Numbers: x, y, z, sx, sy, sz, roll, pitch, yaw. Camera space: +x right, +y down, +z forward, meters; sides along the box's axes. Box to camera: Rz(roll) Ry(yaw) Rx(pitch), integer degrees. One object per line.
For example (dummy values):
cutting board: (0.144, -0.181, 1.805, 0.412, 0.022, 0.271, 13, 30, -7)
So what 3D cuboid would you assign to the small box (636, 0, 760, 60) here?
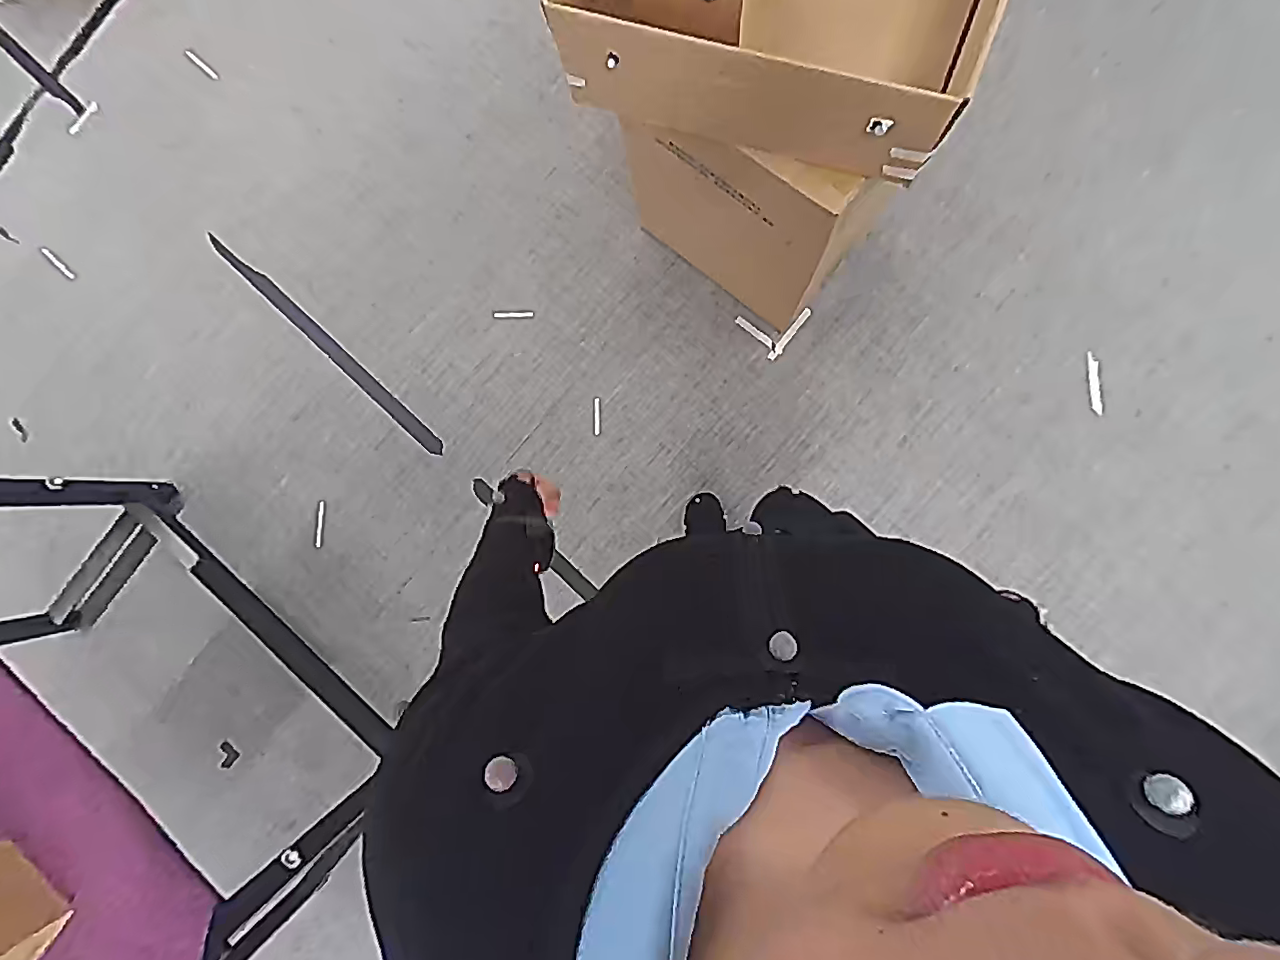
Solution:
small box: (0.100, -0.777, 0.802, 0.179, 0.176, 0.168, 21, 91, 7)

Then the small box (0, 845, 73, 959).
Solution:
small box: (-1.025, 0.701, 0.803, 0.179, 0.176, 0.168, 37, 92, 7)
